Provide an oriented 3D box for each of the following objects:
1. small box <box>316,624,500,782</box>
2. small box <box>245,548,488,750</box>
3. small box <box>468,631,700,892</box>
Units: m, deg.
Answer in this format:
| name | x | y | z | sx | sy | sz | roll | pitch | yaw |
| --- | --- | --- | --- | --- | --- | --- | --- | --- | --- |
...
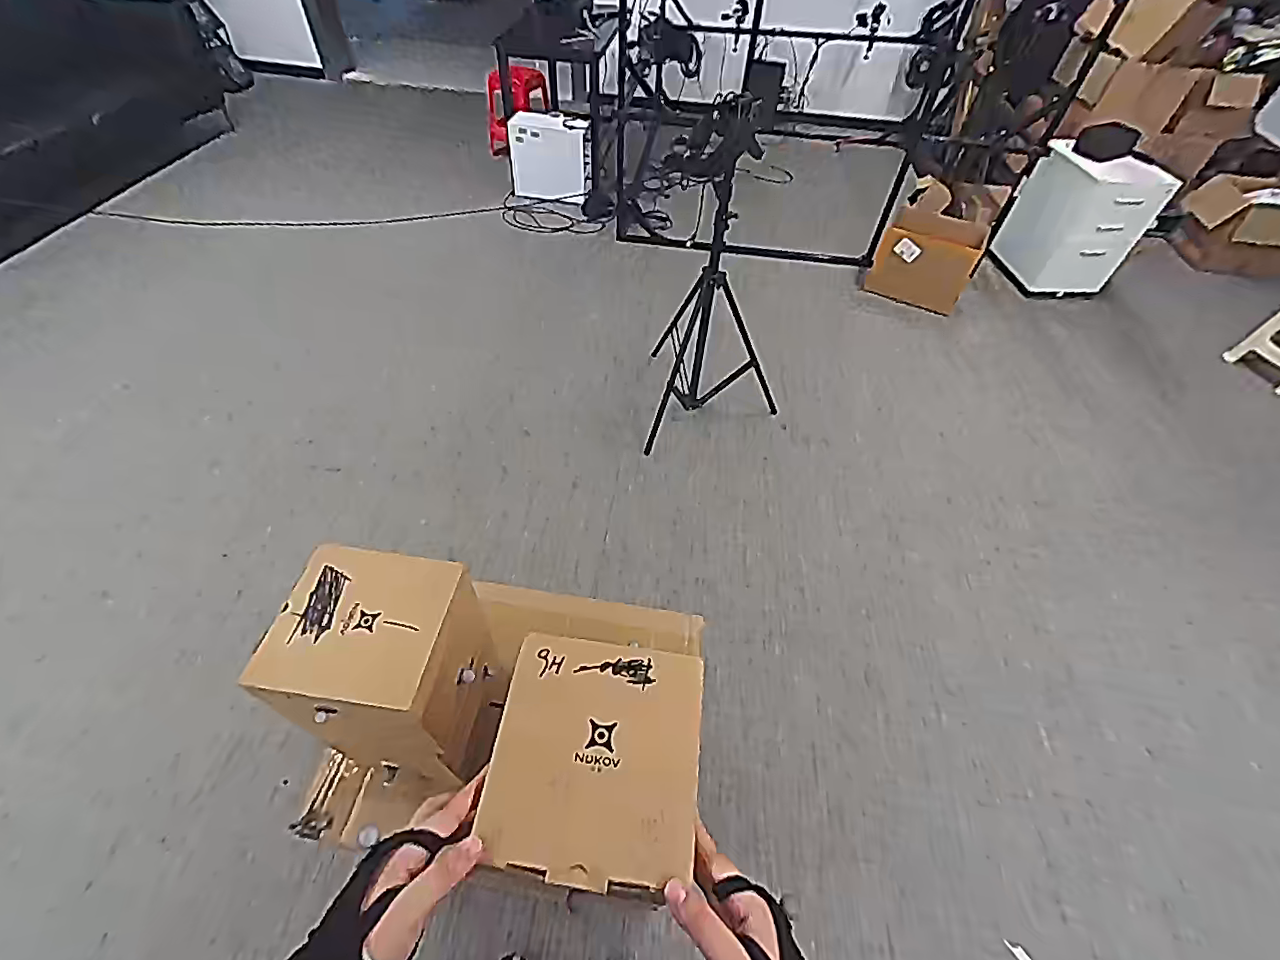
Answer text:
| name | x | y | z | sx | sy | sz | roll | pitch | yaw |
| --- | --- | --- | --- | --- | --- | --- | --- | --- | --- |
| small box | -0.307 | 0.305 | 0.765 | 0.168 | 0.176 | 0.179 | 7 | 52 | 3 |
| small box | -0.297 | 0.202 | 0.637 | 0.179 | 0.176 | 0.168 | 8 | 50 | 2 |
| small box | -0.039 | 0.266 | 0.506 | 0.168 | 0.176 | 0.179 | 7 | 52 | 2 |
